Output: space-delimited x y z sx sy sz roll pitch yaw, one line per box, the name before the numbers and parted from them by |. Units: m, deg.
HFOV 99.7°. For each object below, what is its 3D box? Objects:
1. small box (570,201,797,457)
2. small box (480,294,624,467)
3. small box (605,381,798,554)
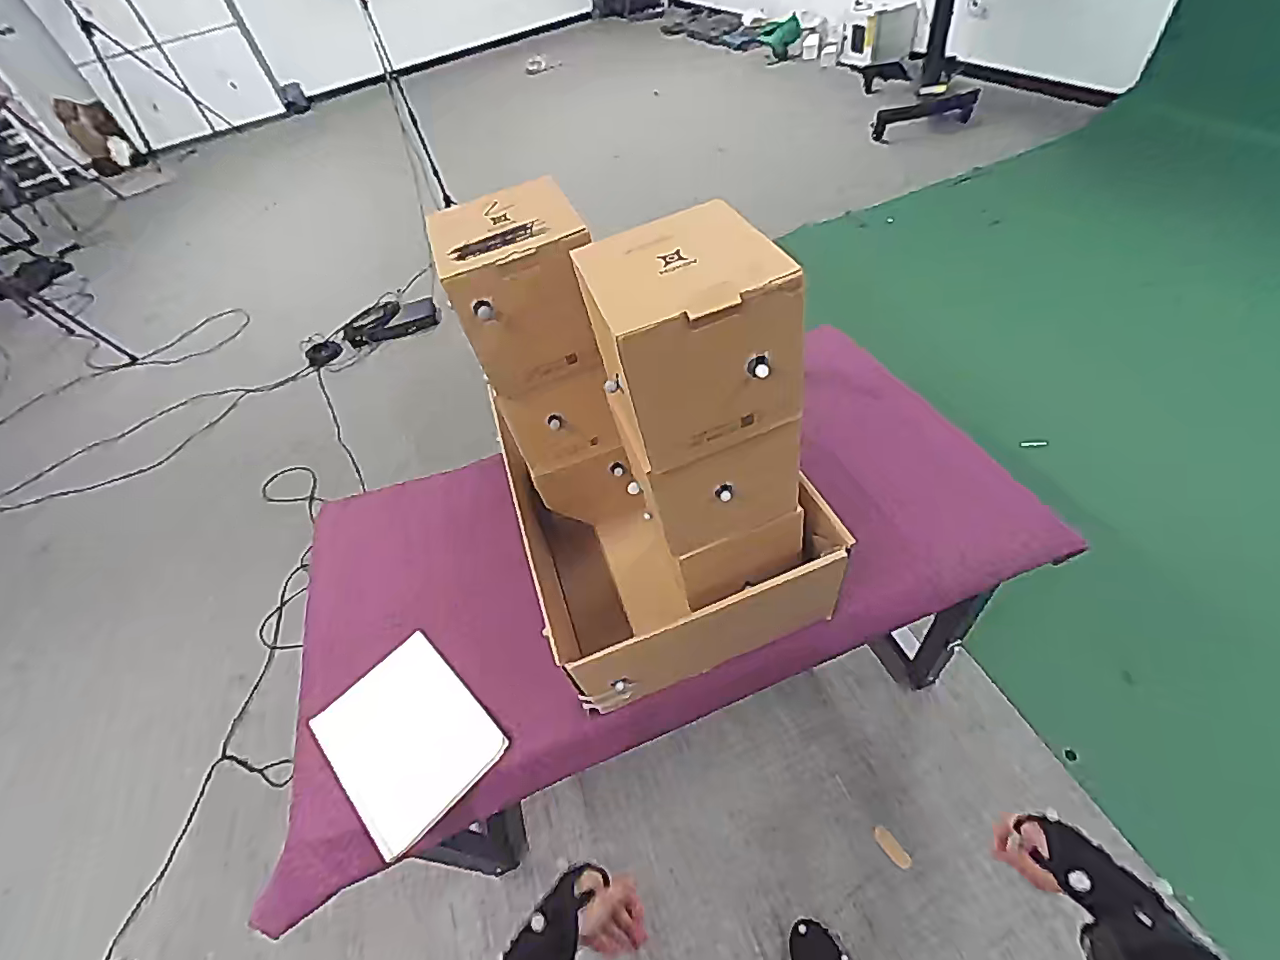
small box | 0.046 -0.144 0.545 0.168 0.176 0.179 -20 47 -3
small box | -0.121 -0.141 0.809 0.168 0.176 0.179 -20 50 -4
small box | 0.076 -0.039 0.666 0.179 0.176 0.168 -21 47 -2
